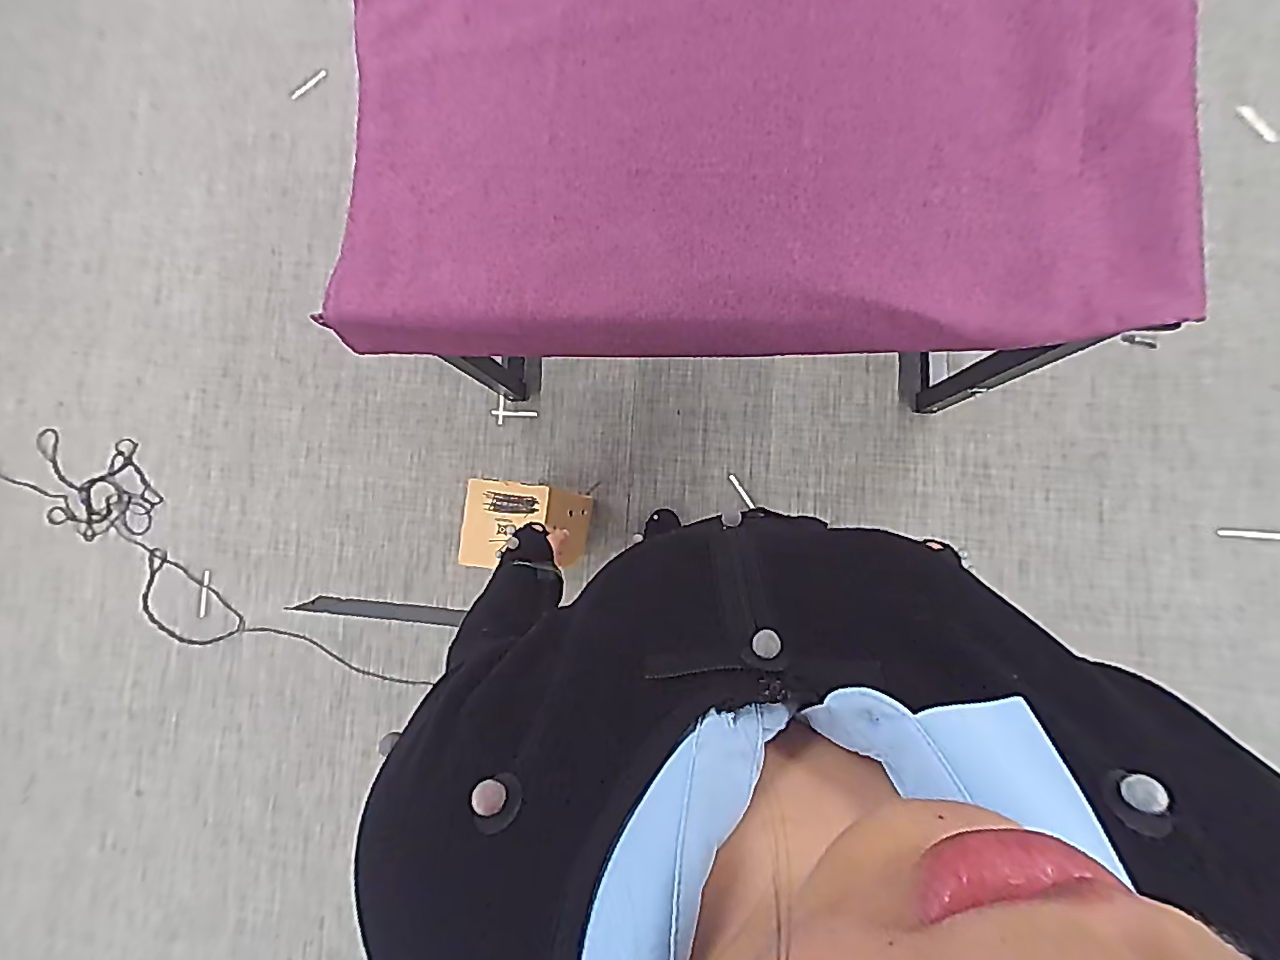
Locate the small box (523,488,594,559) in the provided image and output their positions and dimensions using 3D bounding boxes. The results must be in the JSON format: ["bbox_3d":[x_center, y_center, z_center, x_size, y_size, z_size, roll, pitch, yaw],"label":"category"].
[{"bbox_3d":[-0.228,0.122,1.460,0.168,0.176,0.179,9,87,6],"label":"small box"}]

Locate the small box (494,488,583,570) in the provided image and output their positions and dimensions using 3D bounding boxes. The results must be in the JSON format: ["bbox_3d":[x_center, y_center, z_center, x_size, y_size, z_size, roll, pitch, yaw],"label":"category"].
[{"bbox_3d":[-0.235,0.115,1.295,0.168,0.176,0.179,4,87,6],"label":"small box"}]
